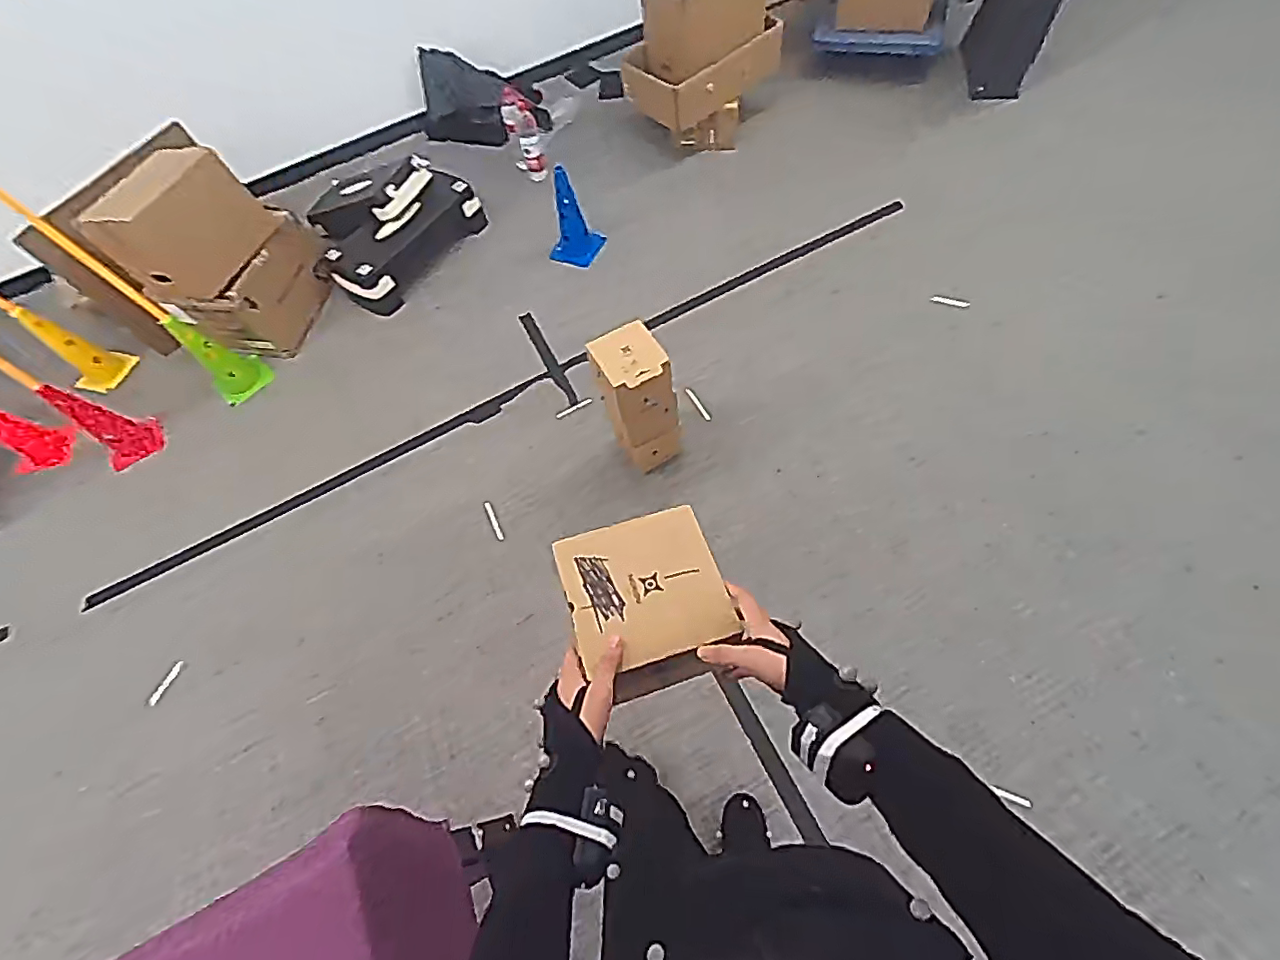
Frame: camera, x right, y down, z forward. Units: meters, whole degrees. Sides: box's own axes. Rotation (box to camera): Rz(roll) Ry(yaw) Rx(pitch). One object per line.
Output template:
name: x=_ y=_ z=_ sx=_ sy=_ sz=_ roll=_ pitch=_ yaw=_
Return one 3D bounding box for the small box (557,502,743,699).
small box: x=0.015 y=0.157 z=0.673 sx=0.179 sy=0.176 sz=0.168 roll=-18 pitch=60 yaw=-4

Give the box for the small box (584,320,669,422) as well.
small box: x=-0.033 y=-0.292 z=1.466 sx=0.168 sy=0.176 sz=0.179 roll=-28 pitch=63 yaw=-8

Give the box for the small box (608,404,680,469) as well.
small box: x=0.019 y=-0.157 z=1.765 sx=0.168 sy=0.176 sz=0.179 roll=-32 pitch=63 yaw=-9
